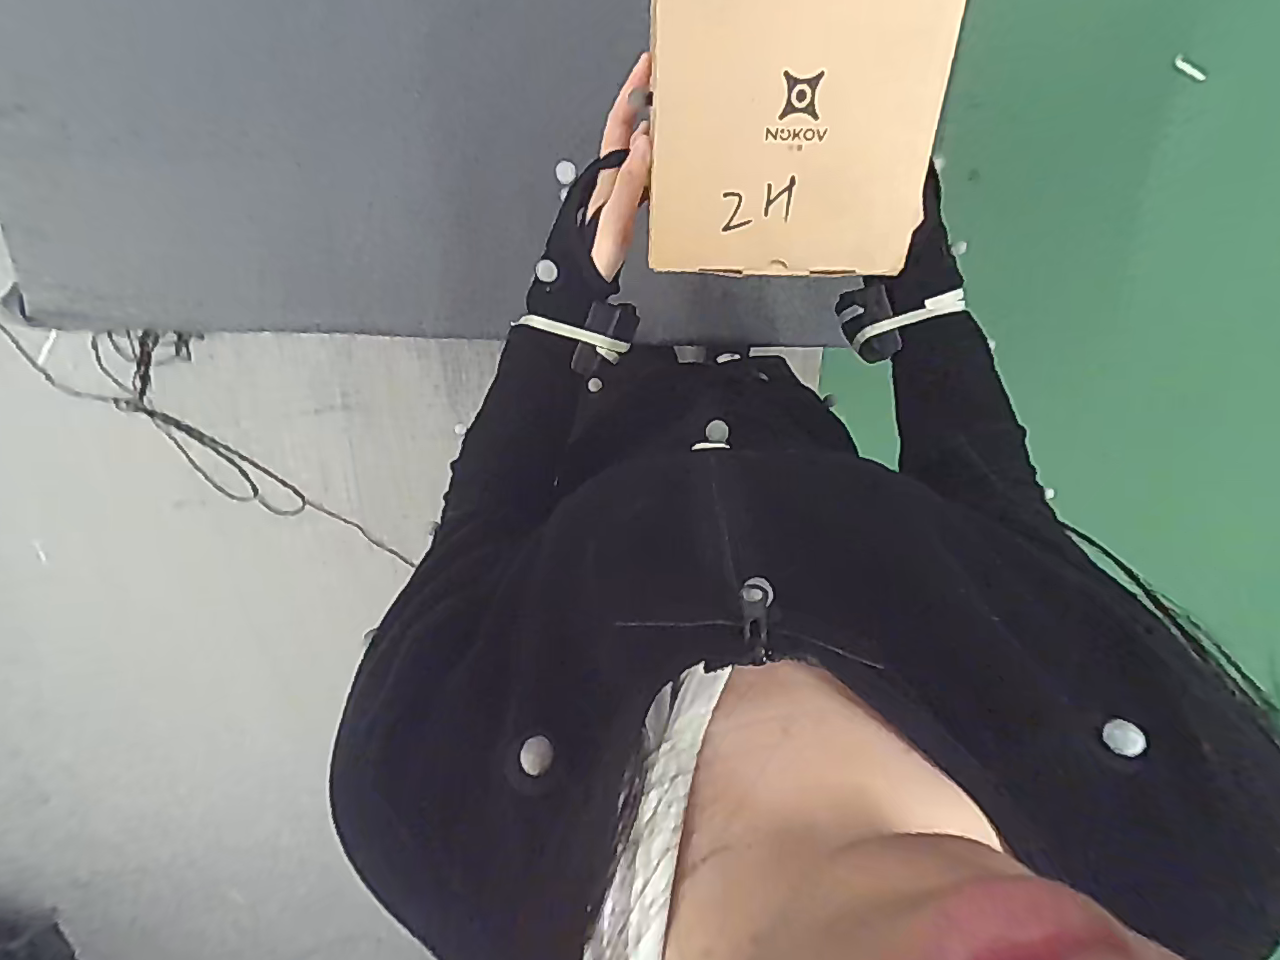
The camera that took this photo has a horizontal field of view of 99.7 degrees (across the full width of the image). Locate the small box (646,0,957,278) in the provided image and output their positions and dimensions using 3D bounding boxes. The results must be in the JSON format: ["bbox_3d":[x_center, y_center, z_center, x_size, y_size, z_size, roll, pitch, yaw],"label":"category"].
[{"bbox_3d":[0.089,-0.249,0.388,0.168,0.176,0.179,2,118,1],"label":"small box"}]
